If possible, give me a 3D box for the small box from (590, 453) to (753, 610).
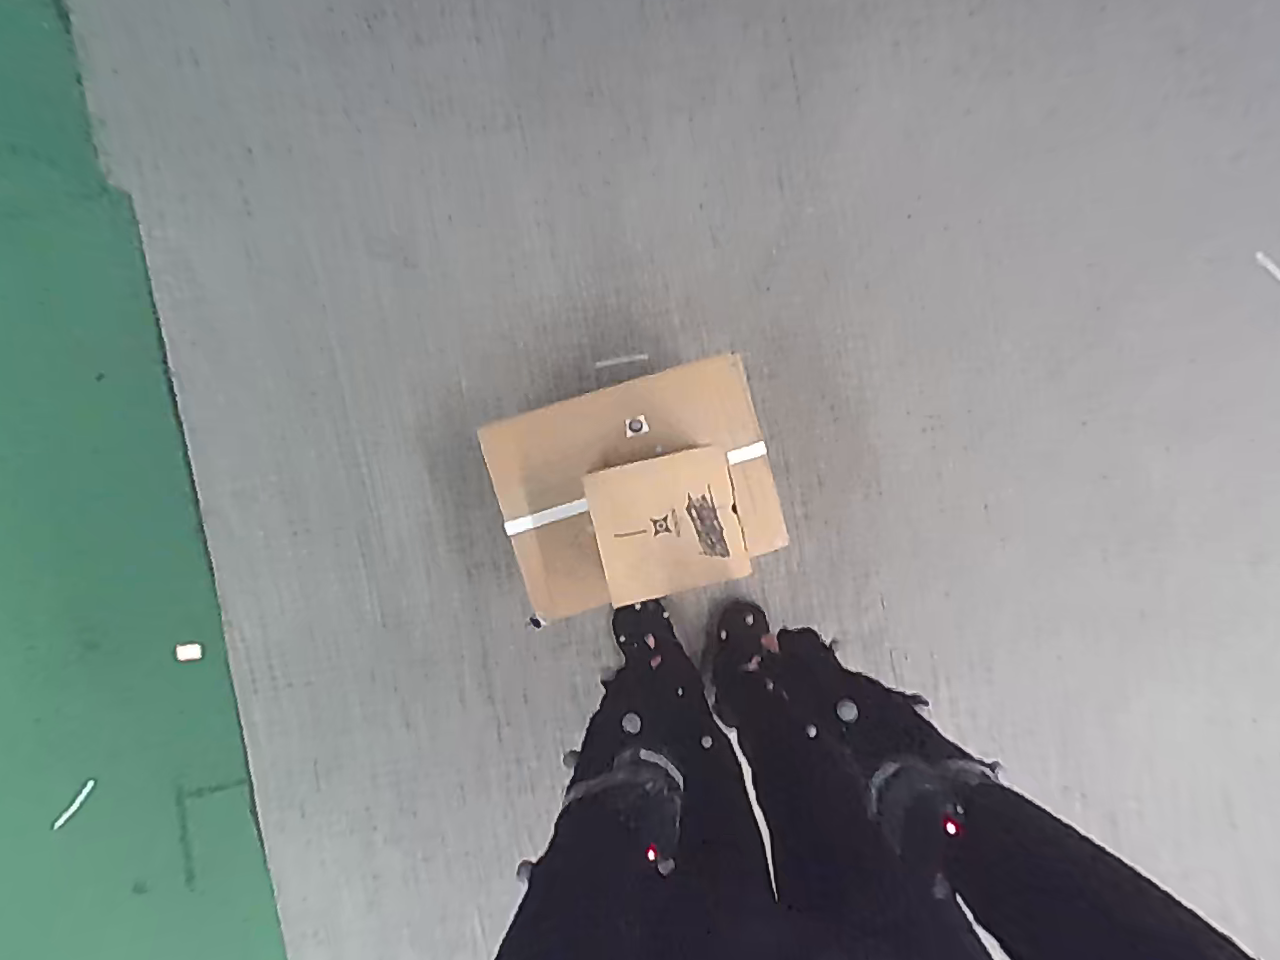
[{"bbox_3d":[0.036,0.058,0.738,0.179,0.176,0.168,-13,92,-1],"label":"small box"}]
